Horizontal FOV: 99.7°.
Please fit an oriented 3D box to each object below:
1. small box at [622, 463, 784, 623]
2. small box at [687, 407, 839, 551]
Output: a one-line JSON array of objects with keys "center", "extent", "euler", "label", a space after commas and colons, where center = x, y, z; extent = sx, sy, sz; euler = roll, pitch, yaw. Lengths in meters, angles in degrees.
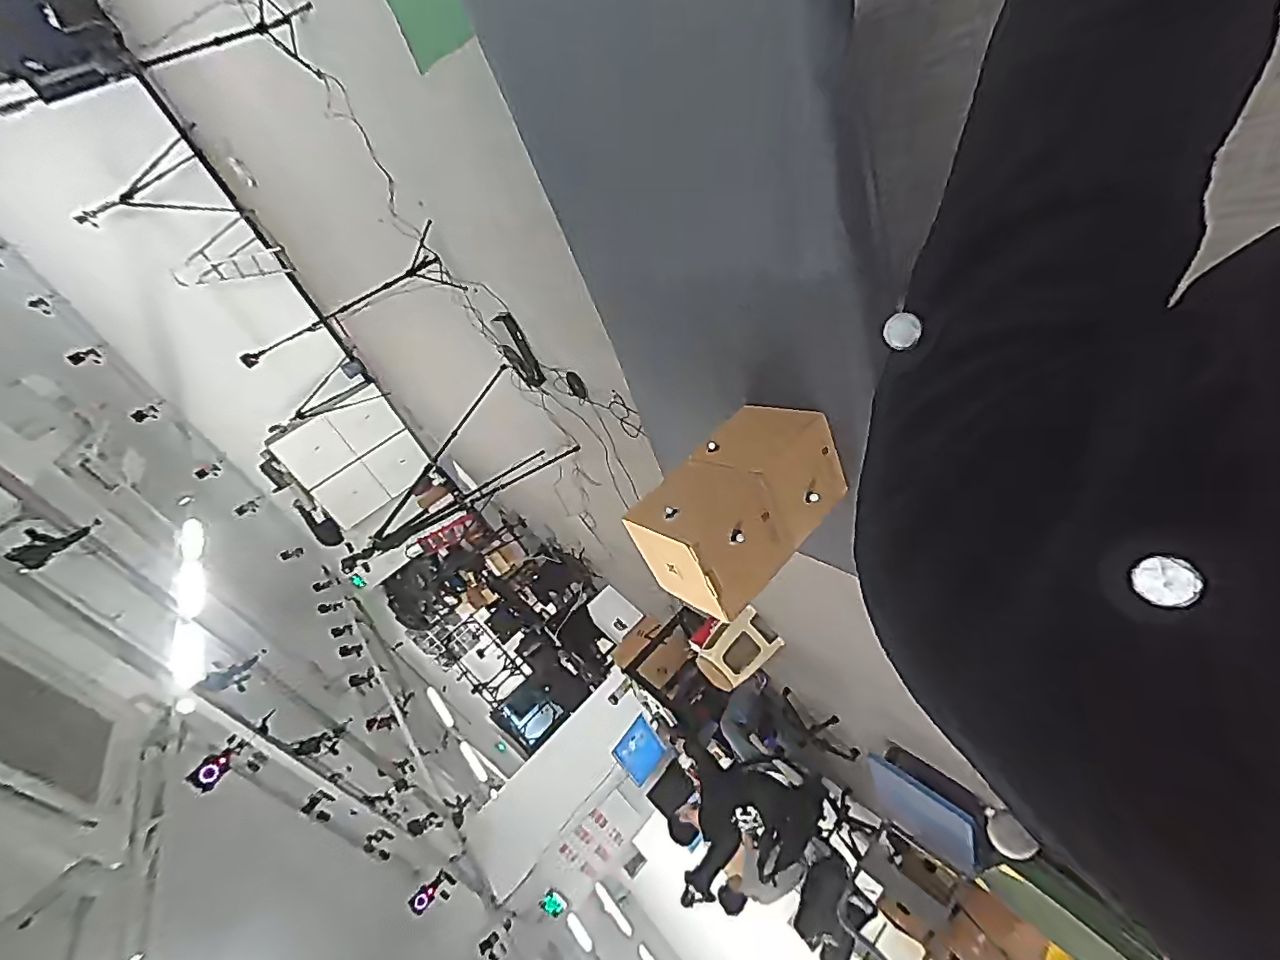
[{"center": [0.108, 0.089, 0.869], "extent": [0.179, 0.176, 0.168], "euler": [17, 141, 54], "label": "small box"}, {"center": [0.220, -0.011, 0.931], "extent": [0.179, 0.176, 0.168], "euler": [17, 142, 53], "label": "small box"}]
